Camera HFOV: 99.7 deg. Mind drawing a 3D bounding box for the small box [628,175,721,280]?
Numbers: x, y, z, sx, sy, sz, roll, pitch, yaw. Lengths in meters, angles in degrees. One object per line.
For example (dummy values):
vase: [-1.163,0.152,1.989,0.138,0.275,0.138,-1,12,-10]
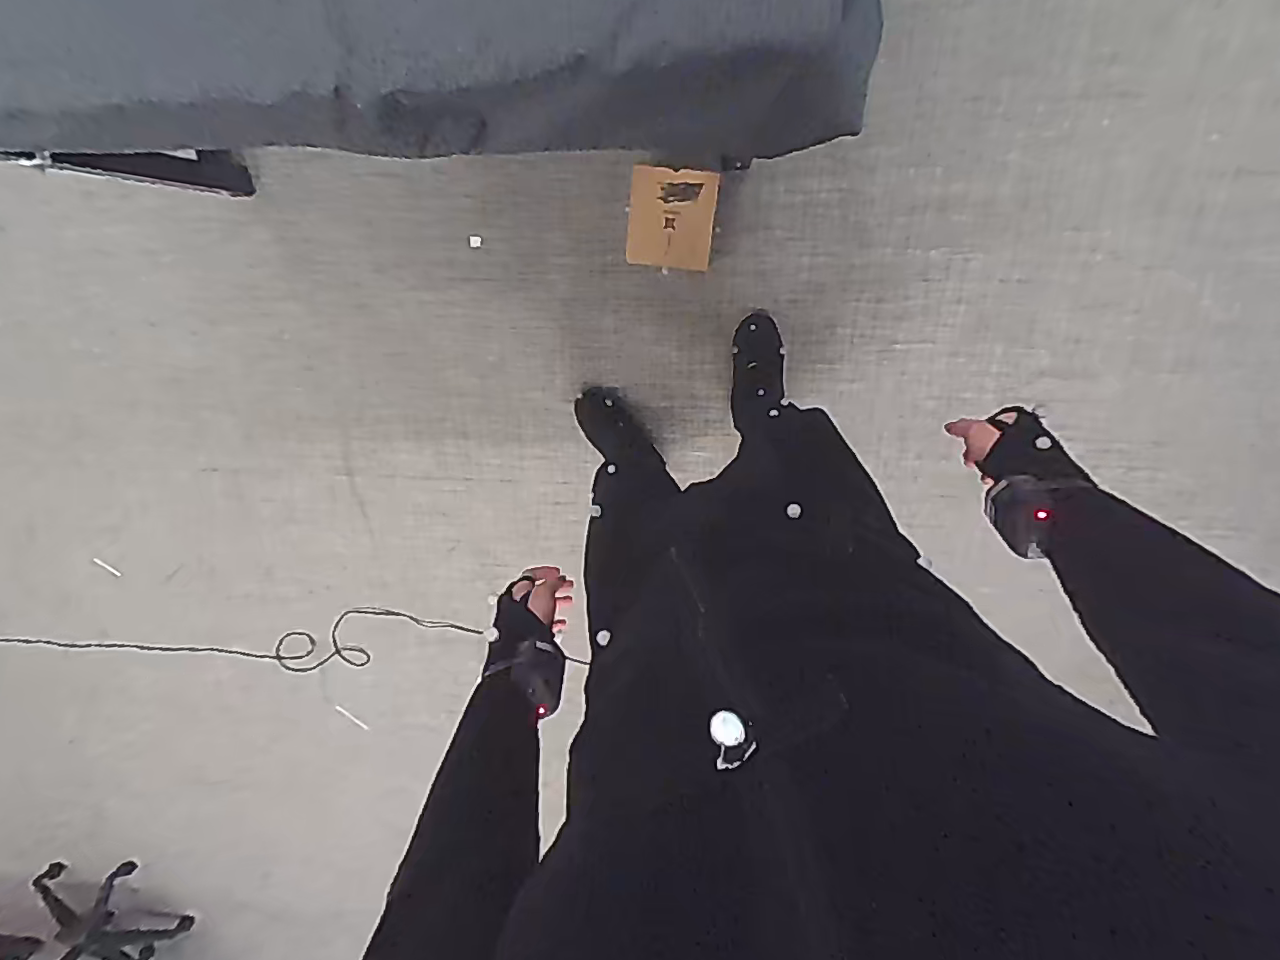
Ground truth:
small box: [0.073,-0.515,1.120,0.168,0.176,0.179,7,112,5]
